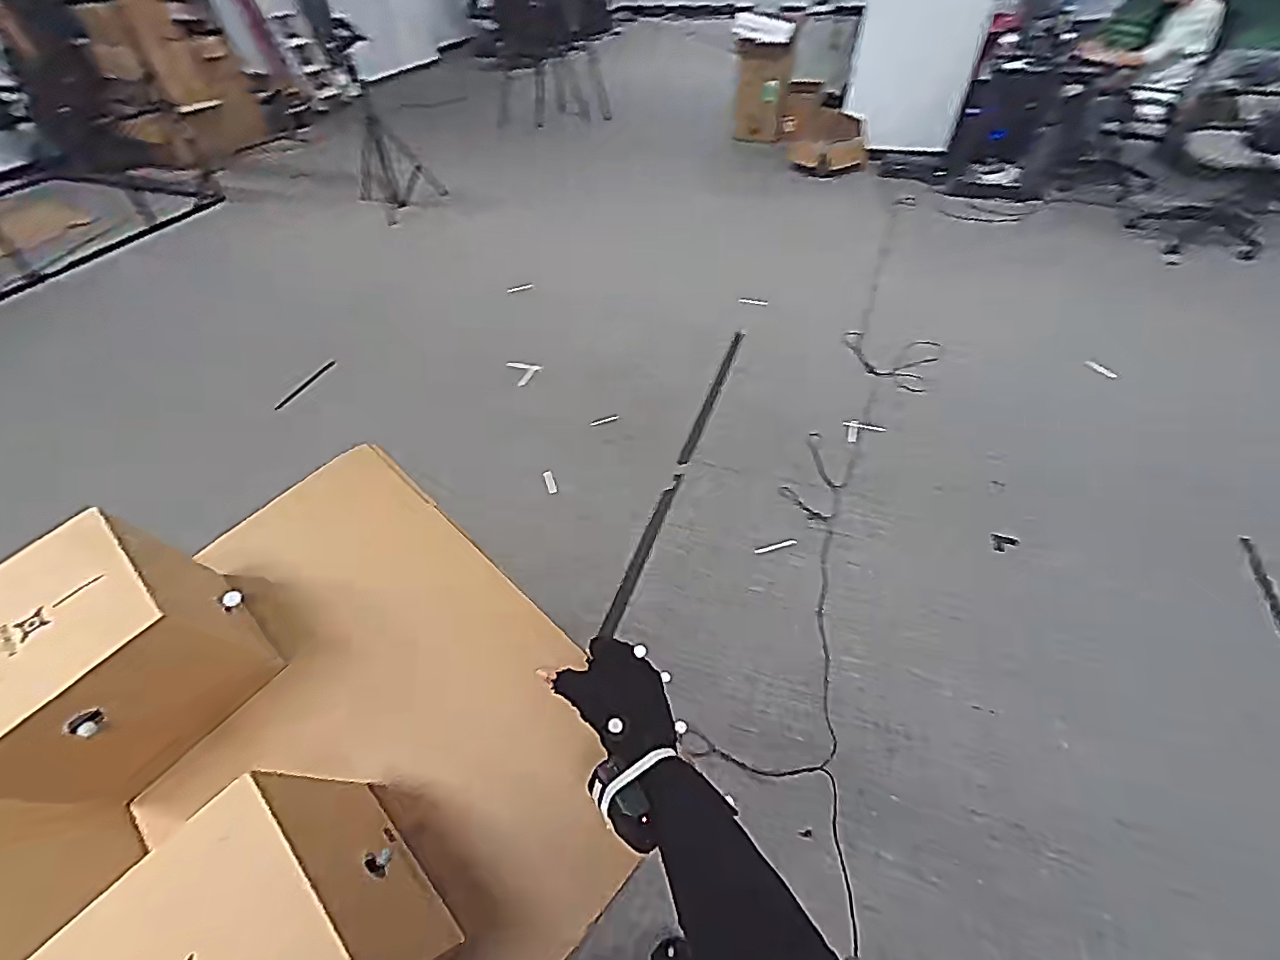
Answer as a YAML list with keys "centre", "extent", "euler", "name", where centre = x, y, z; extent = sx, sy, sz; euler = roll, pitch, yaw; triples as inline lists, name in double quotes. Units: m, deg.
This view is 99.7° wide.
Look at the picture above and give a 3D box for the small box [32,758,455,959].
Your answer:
- centre: [-0.262, 0.342, 0.400]
  extent: [0.179, 0.176, 0.168]
  euler: [-40, 63, -19]
  name: "small box"
